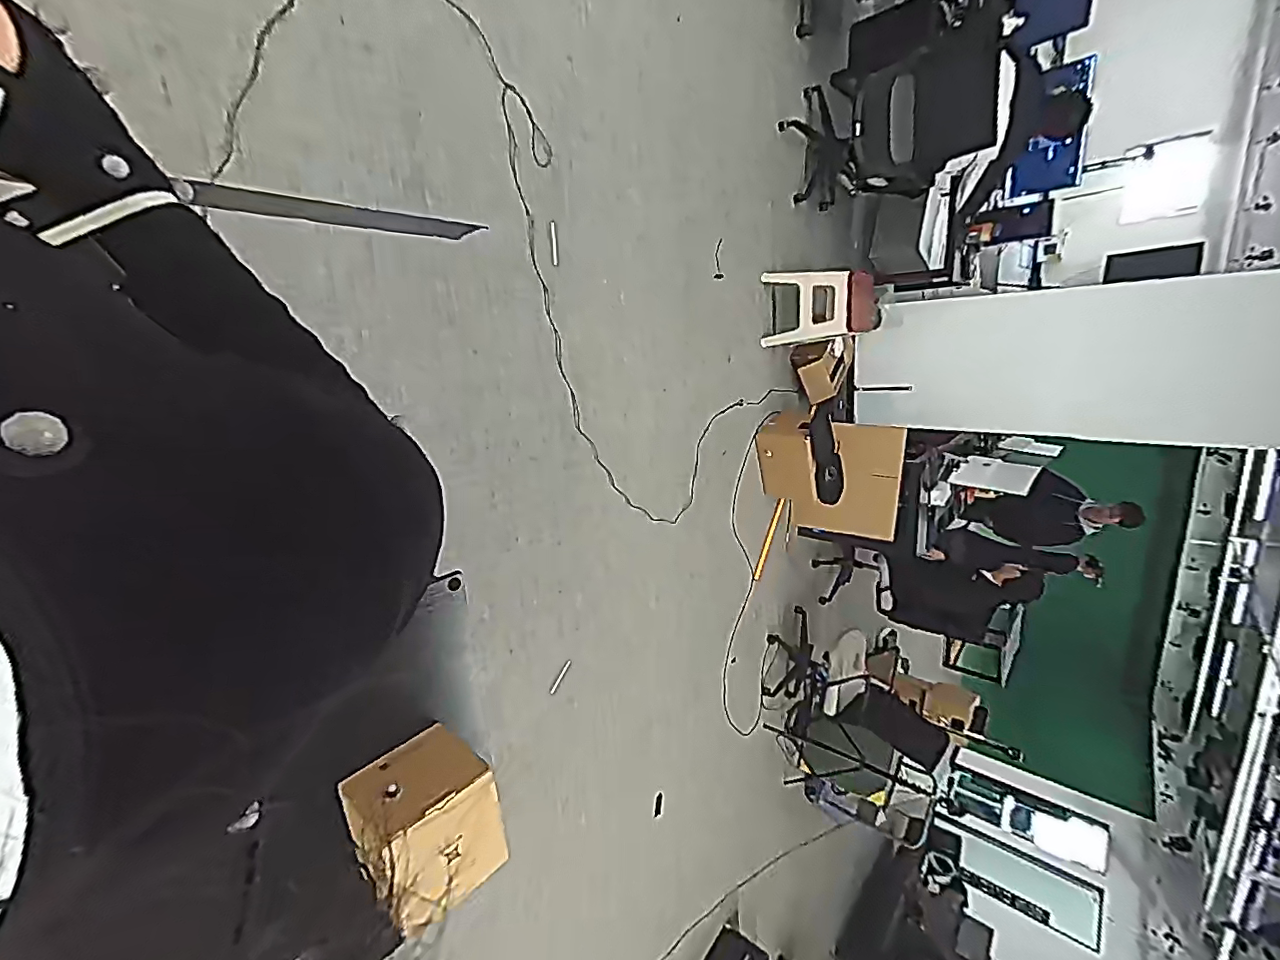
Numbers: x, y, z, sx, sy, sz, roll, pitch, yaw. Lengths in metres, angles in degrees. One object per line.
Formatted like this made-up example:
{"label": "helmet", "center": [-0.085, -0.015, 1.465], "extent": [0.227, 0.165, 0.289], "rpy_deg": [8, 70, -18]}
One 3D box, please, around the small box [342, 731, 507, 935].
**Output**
{"label": "small box", "center": [-0.331, 0.517, 0.830], "extent": [0.168, 0.176, 0.179], "rpy_deg": [-21, 112, -44]}
